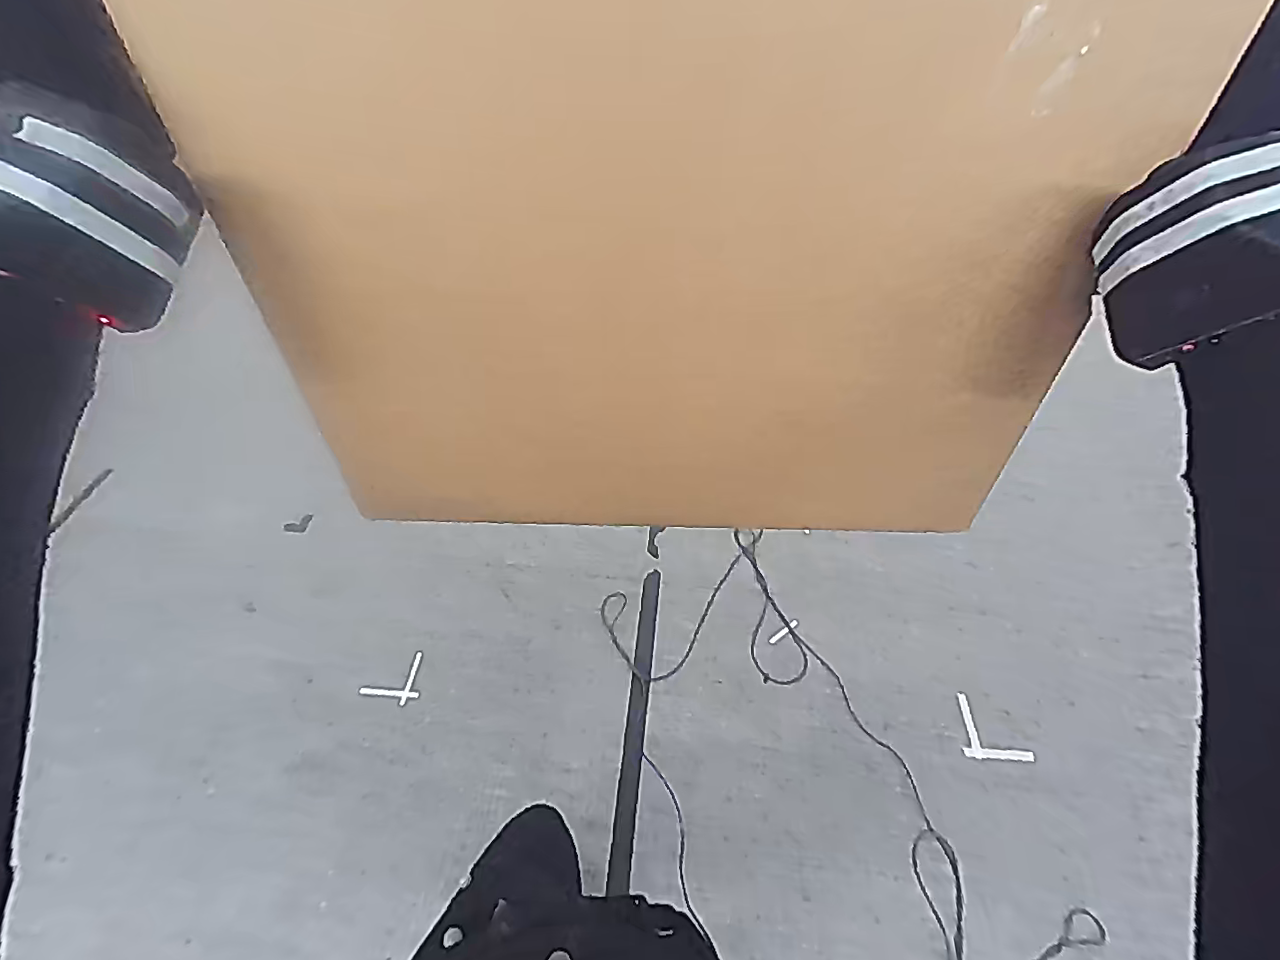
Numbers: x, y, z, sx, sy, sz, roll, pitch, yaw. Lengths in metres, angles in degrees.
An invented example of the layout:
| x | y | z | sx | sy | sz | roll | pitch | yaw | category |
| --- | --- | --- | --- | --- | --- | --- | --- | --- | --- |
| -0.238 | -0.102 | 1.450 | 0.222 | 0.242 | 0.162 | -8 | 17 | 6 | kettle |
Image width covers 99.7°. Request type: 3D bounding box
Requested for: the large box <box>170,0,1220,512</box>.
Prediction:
| x | y | z | sx | sy | sz | roll | pitch | yaw | category |
| --- | --- | --- | --- | --- | --- | --- | --- | --- | --- |
| 0.018 | -0.188 | 0.385 | 0.408 | 0.320 | 0.320 | 1 | 42 | 1 | large box |
